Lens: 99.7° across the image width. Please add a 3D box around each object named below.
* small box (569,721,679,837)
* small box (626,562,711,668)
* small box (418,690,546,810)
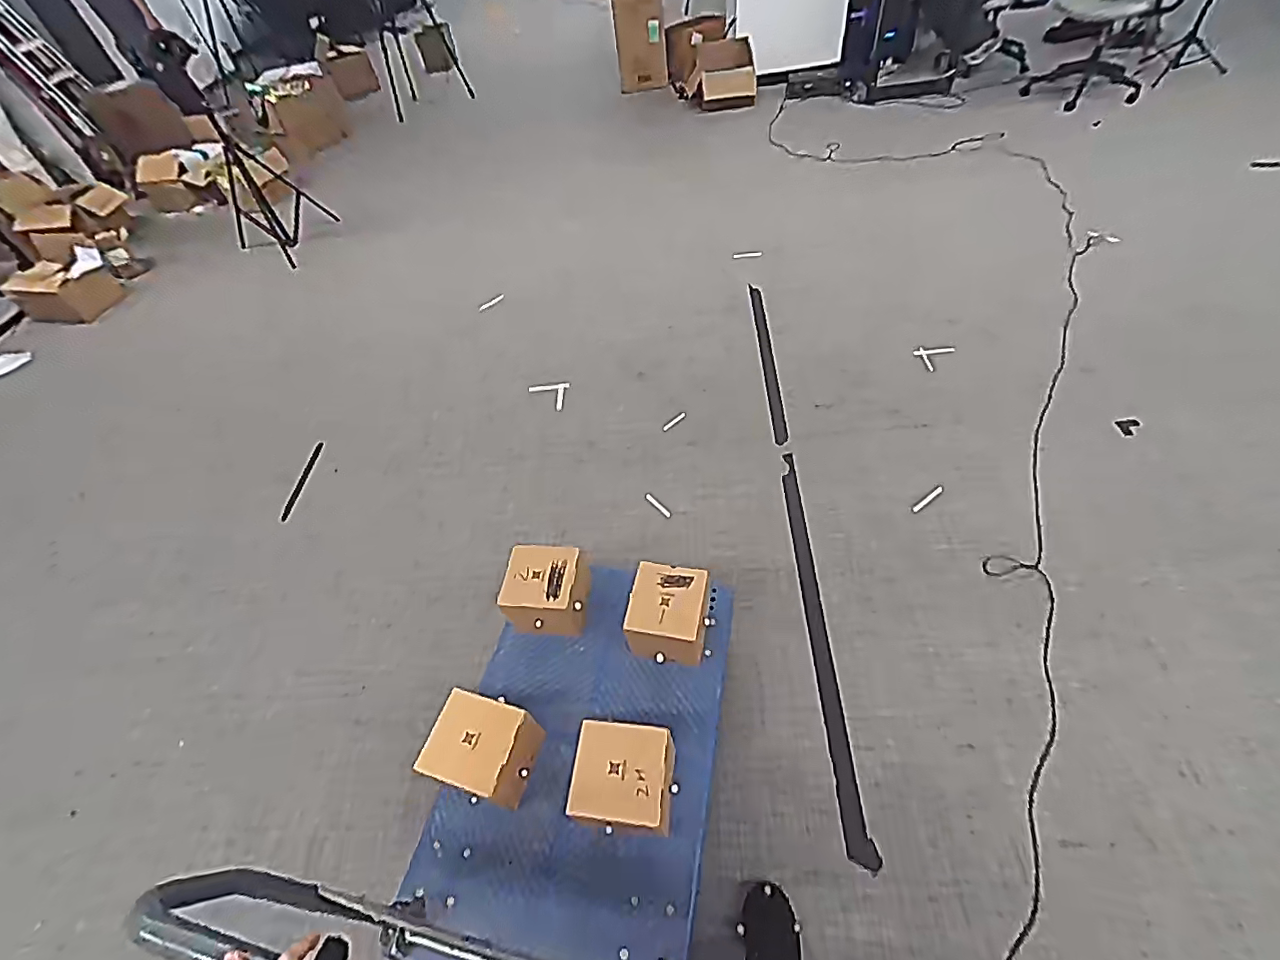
[{"bbox_3d":[-0.023,0.596,1.074,0.179,0.176,0.168,1,52,11],"label":"small box"},{"bbox_3d":[0.076,0.321,1.283,0.168,0.176,0.179,6,53,14],"label":"small box"},{"bbox_3d":[-0.323,0.574,1.143,0.179,0.176,0.168,11,53,15],"label":"small box"}]
